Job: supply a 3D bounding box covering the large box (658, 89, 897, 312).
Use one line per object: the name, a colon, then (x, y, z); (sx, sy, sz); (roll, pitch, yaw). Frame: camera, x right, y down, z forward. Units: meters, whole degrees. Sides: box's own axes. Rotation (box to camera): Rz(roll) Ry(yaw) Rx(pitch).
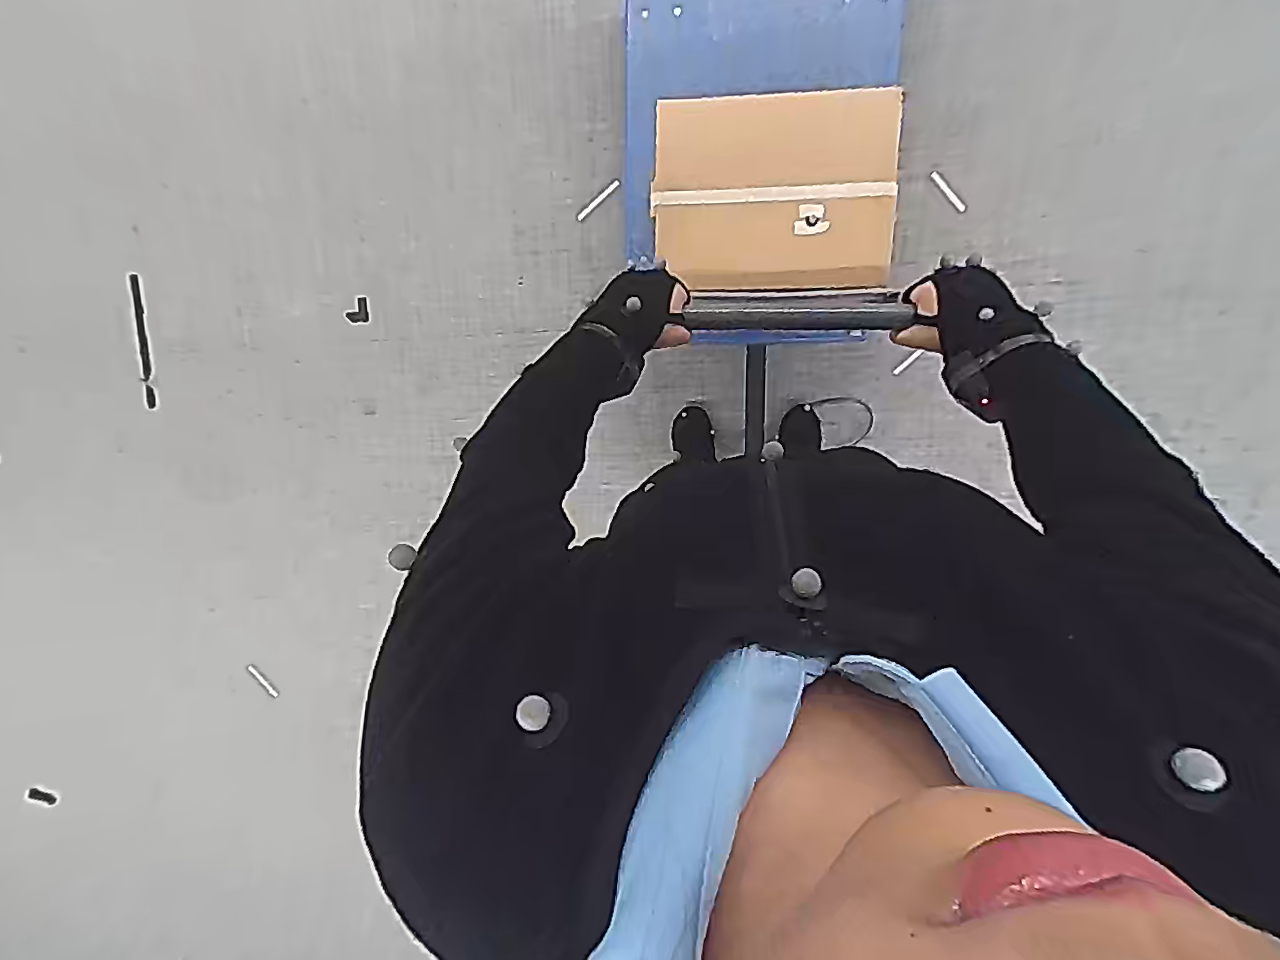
large box: (0.246, -0.522, 1.084); (0.408, 0.320, 0.320); (1, 101, 6)
